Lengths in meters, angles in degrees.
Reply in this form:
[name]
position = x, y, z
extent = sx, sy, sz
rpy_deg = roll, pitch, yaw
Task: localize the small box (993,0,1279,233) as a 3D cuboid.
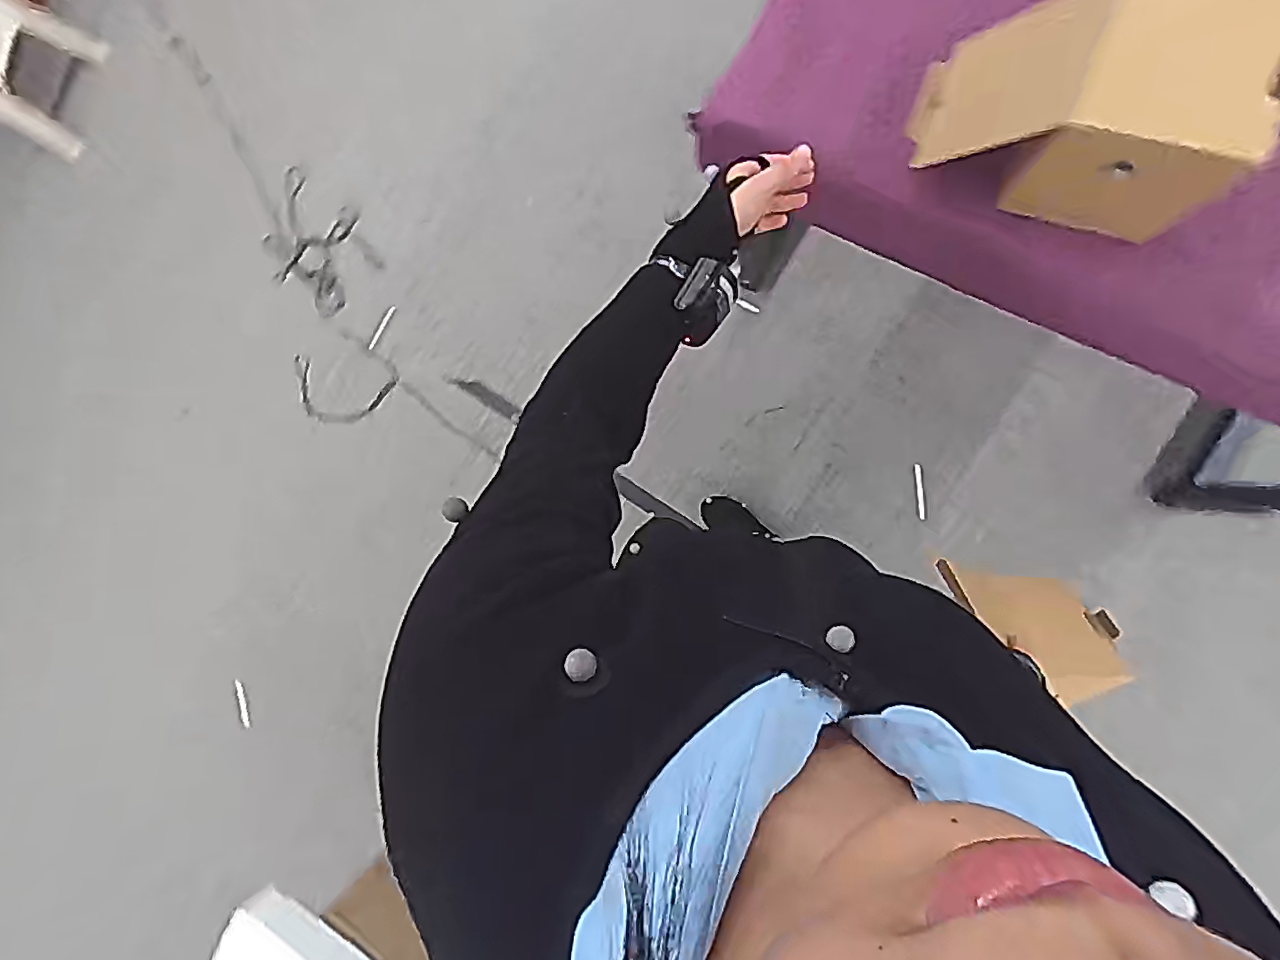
[small box]
position = 0.535, -0.402, 0.597
extent = 0.179, 0.176, 0.168
rpy_deg = 21, 93, 11
